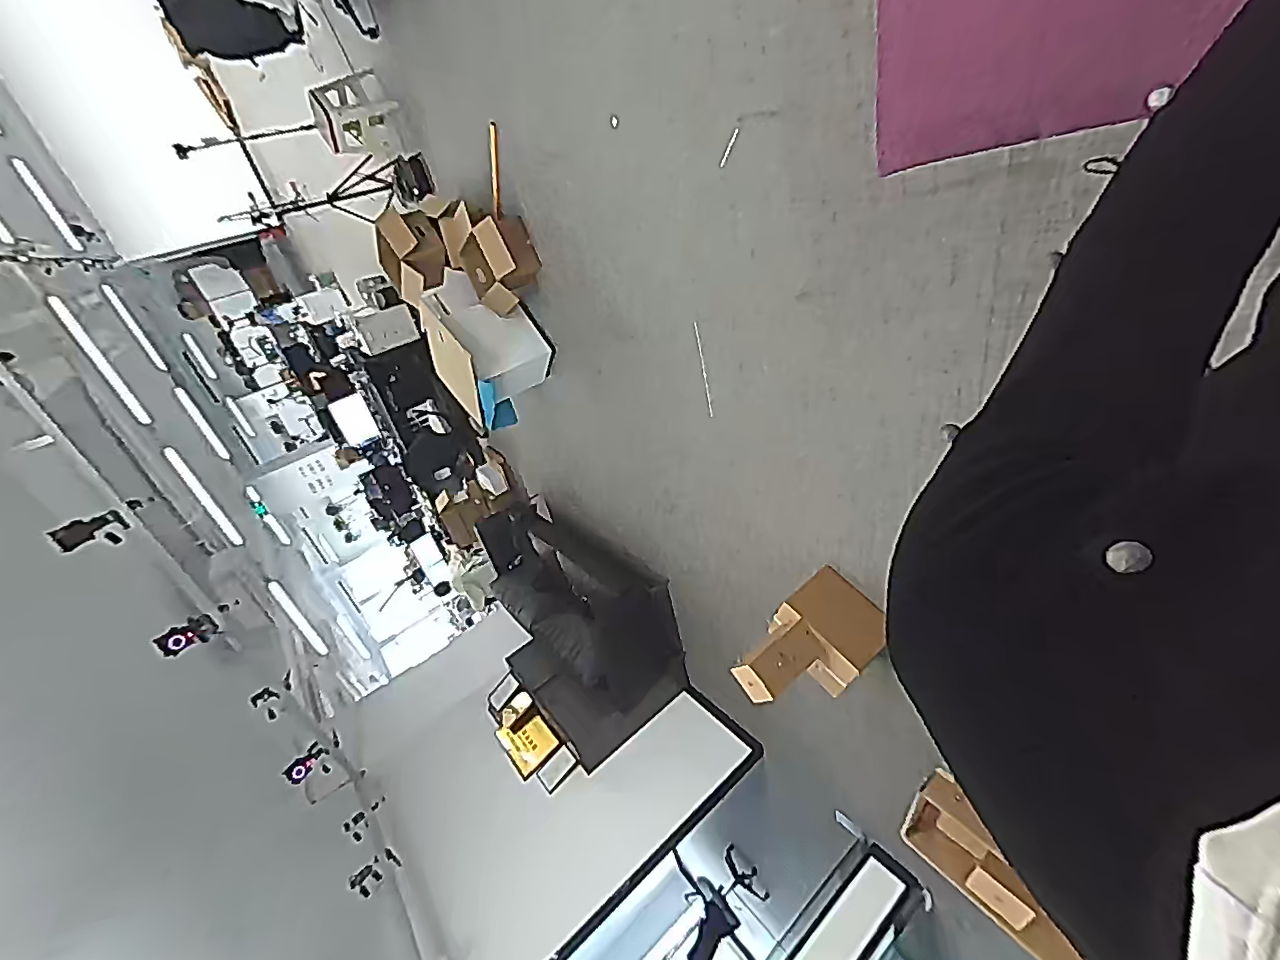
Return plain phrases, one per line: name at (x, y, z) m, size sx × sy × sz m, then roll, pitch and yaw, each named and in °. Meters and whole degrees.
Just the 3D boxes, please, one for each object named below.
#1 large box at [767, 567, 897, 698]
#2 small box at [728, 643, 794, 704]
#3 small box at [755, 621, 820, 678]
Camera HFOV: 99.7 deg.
large box at (0.848, 0.676, 2.427) m, size 0.408 × 0.320 × 0.320 m, roll 42°, pitch 150°, yaw 27°
small box at (0.501, 0.800, 2.230) m, size 0.168 × 0.176 × 0.179 m, roll 53°, pitch 151°, yaw 11°
small box at (0.629, 0.726, 2.305) m, size 0.168 × 0.176 × 0.179 m, roll 53°, pitch 152°, yaw 10°
